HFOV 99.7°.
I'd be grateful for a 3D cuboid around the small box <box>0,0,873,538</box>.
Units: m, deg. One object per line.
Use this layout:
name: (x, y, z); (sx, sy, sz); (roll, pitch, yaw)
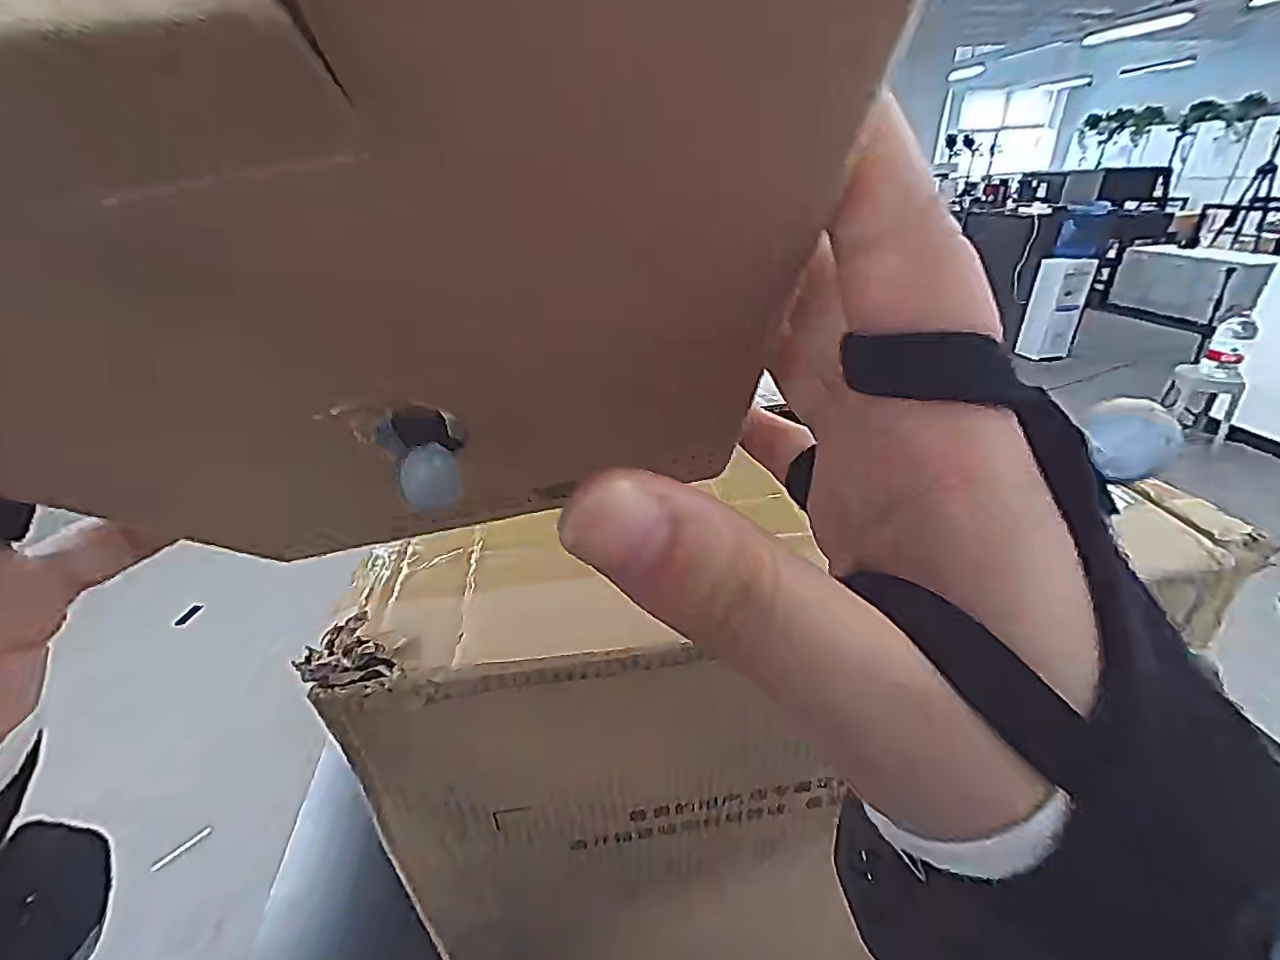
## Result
small box: (-0.065, -0.090, 0.140); (0.168, 0.176, 0.179); (-12, 73, -2)
